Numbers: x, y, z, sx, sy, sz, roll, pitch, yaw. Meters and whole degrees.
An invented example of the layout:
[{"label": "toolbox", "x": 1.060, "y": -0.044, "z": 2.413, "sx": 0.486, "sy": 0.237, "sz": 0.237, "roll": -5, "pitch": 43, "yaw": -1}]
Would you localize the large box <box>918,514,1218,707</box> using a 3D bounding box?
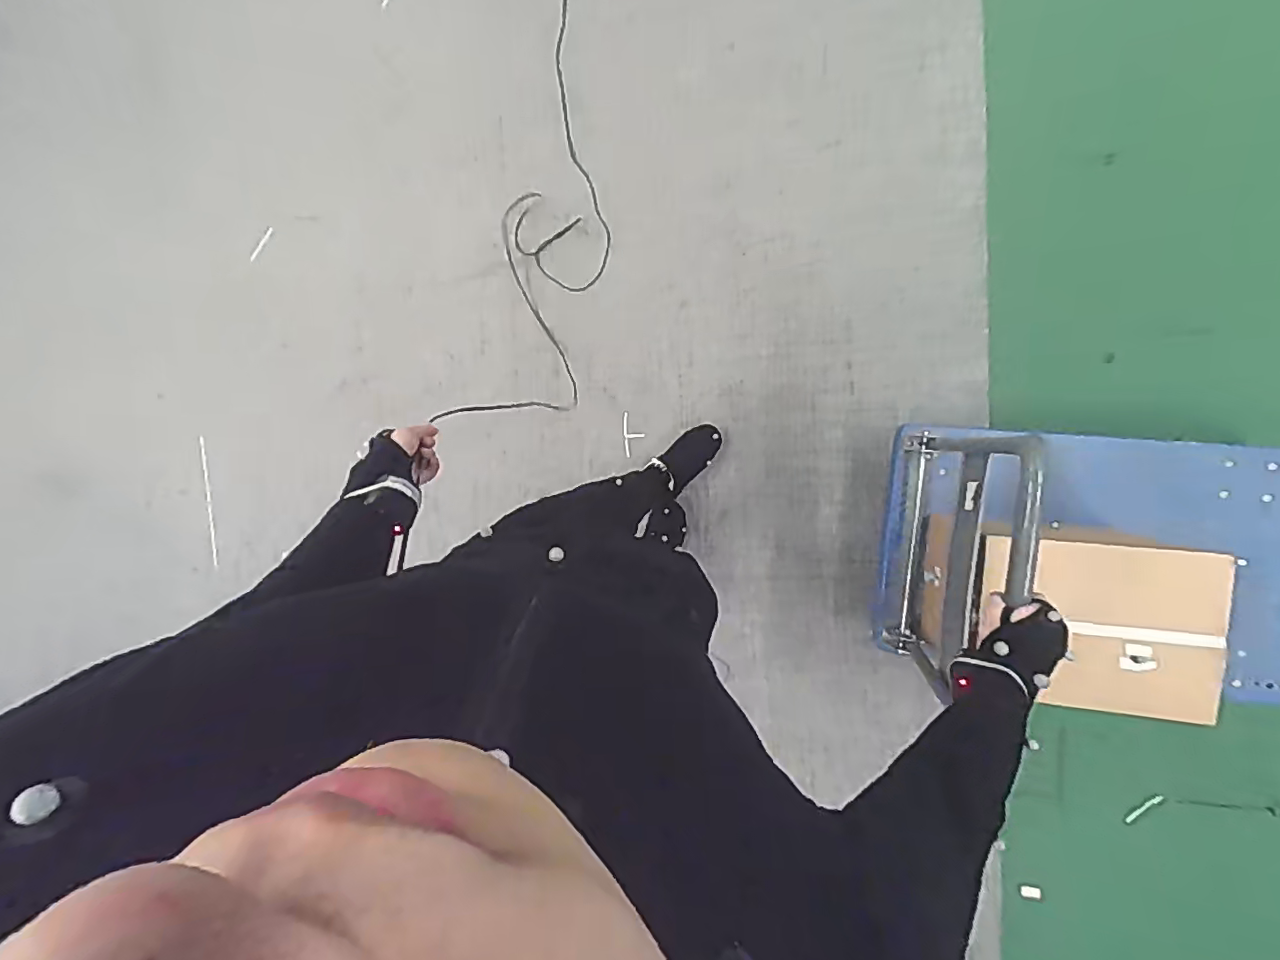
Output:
[{"label": "large box", "x": 0.863, "y": 0.249, "z": 1.160, "sx": 0.408, "sy": 0.320, "sz": 0.320, "roll": 4, "pitch": 95, "yaw": 9}]
